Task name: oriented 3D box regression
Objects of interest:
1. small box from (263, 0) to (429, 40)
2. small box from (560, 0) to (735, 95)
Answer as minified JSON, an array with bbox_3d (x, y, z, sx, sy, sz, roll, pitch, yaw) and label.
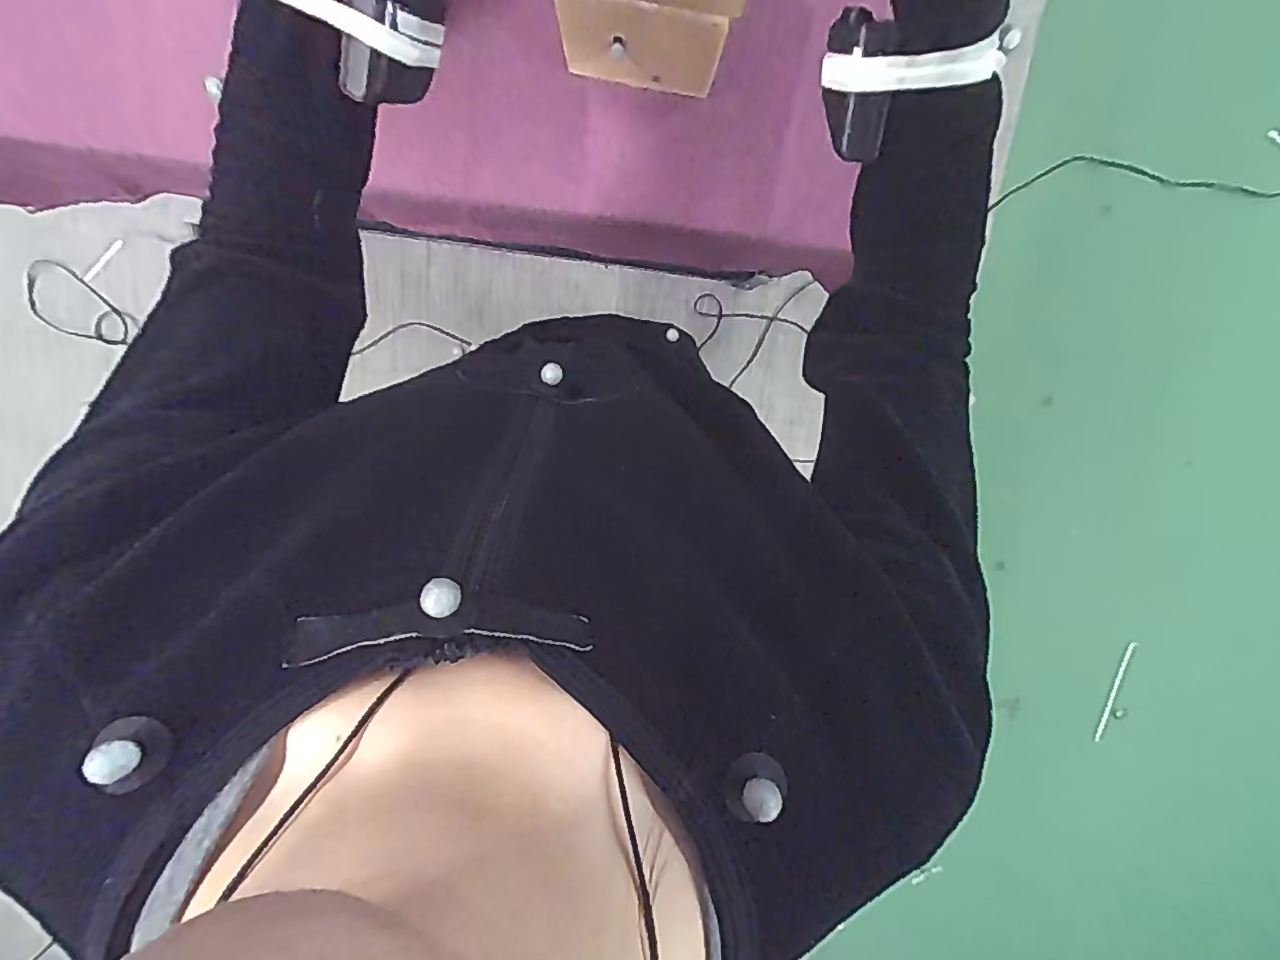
[{"bbox_3d":[-0.314,-0.575,0.529,0.179,0.176,0.168,7,103,-3],"label":"small box"},{"bbox_3d":[0.018,-0.533,0.550,0.168,0.176,0.179,8,103,-4],"label":"small box"}]
